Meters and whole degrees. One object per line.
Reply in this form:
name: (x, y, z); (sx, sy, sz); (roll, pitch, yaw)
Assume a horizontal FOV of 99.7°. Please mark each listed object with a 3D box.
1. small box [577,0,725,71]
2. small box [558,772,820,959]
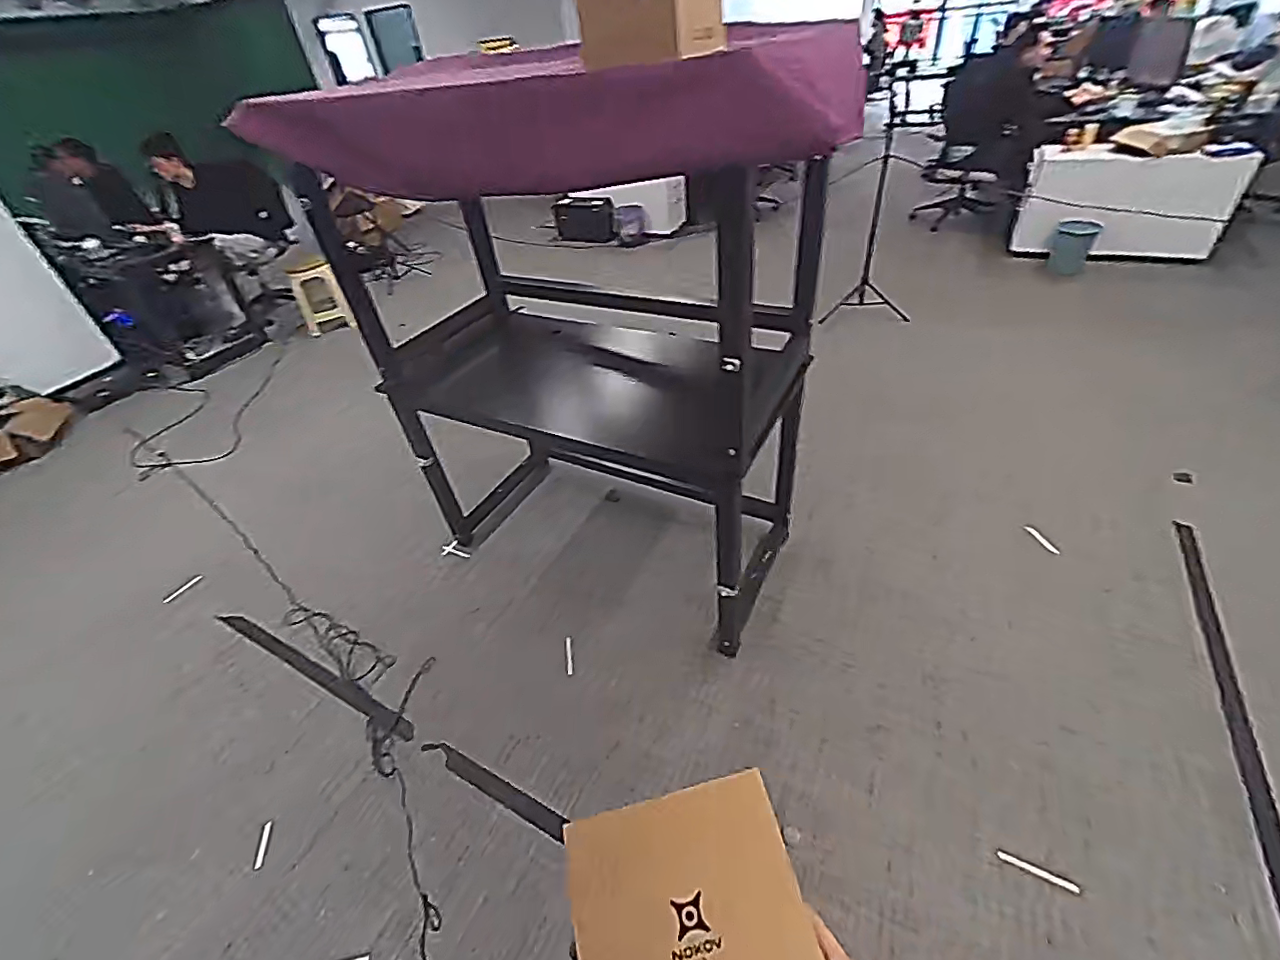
small box: (0.019, -0.735, 0.812); (0.179, 0.176, 0.168); (16, 45, 28)
small box: (0.043, 0.364, 0.426); (0.168, 0.176, 0.179); (-16, 49, -2)
